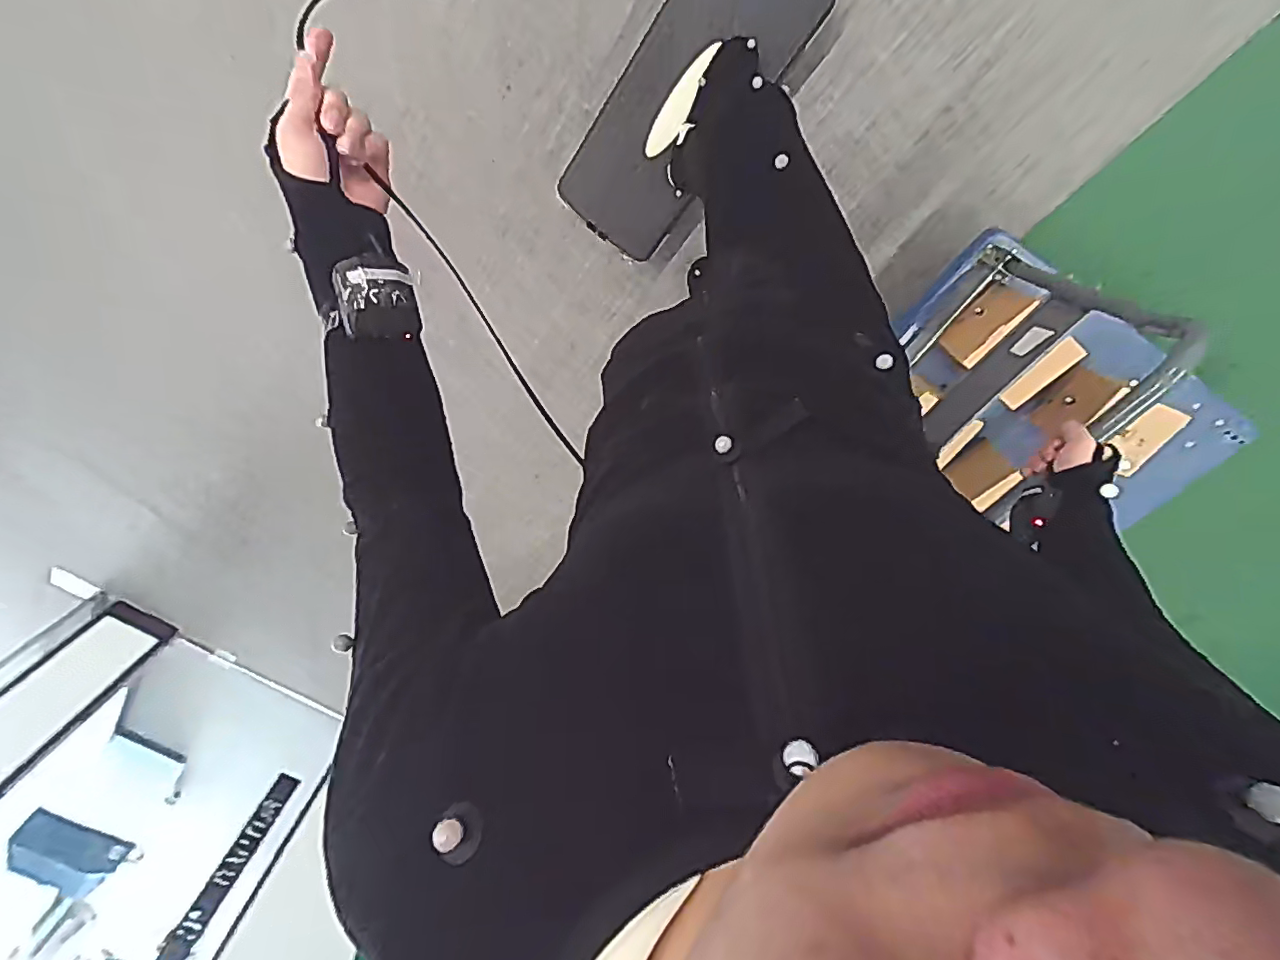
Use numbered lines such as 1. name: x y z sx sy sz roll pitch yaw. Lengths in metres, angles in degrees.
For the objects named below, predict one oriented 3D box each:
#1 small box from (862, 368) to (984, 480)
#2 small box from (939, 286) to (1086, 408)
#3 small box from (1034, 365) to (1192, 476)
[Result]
1. small box: 0.659 -0.139 1.288 0.168 0.176 0.179 27 122 -8
2. small box: 0.797 -0.295 1.174 0.179 0.176 0.168 36 120 -13
3. small box: 1.055 -0.143 1.229 0.179 0.176 0.168 22 123 -5
